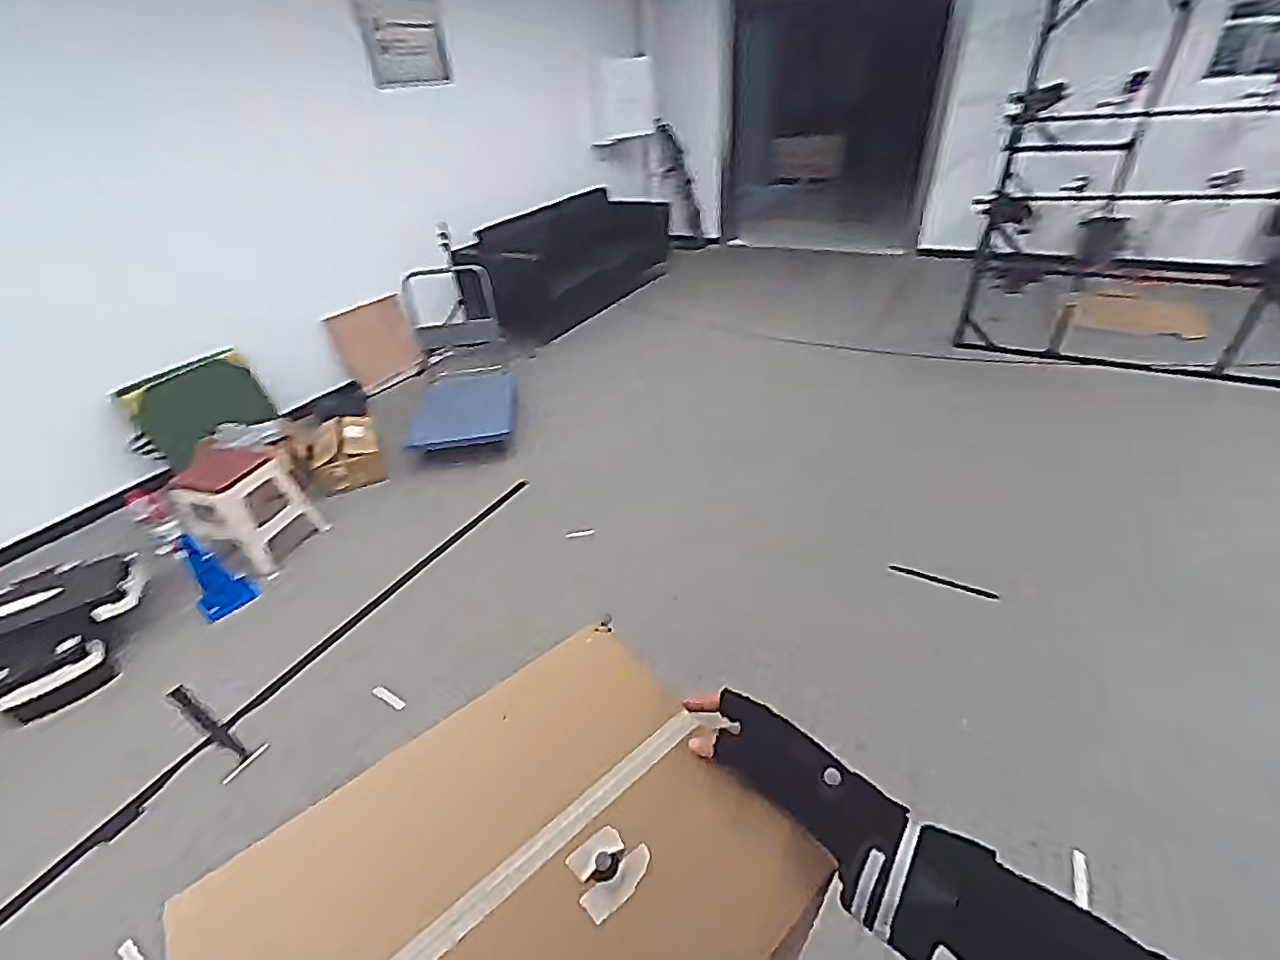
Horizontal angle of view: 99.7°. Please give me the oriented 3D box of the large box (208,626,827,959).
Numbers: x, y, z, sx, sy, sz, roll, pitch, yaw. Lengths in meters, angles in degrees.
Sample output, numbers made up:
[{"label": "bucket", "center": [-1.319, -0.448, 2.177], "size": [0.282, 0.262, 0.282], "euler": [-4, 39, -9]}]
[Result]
[{"label": "large box", "center": [-0.088, 0.431, 0.512], "size": [0.408, 0.320, 0.320], "euler": [-27, 42, -29]}]
